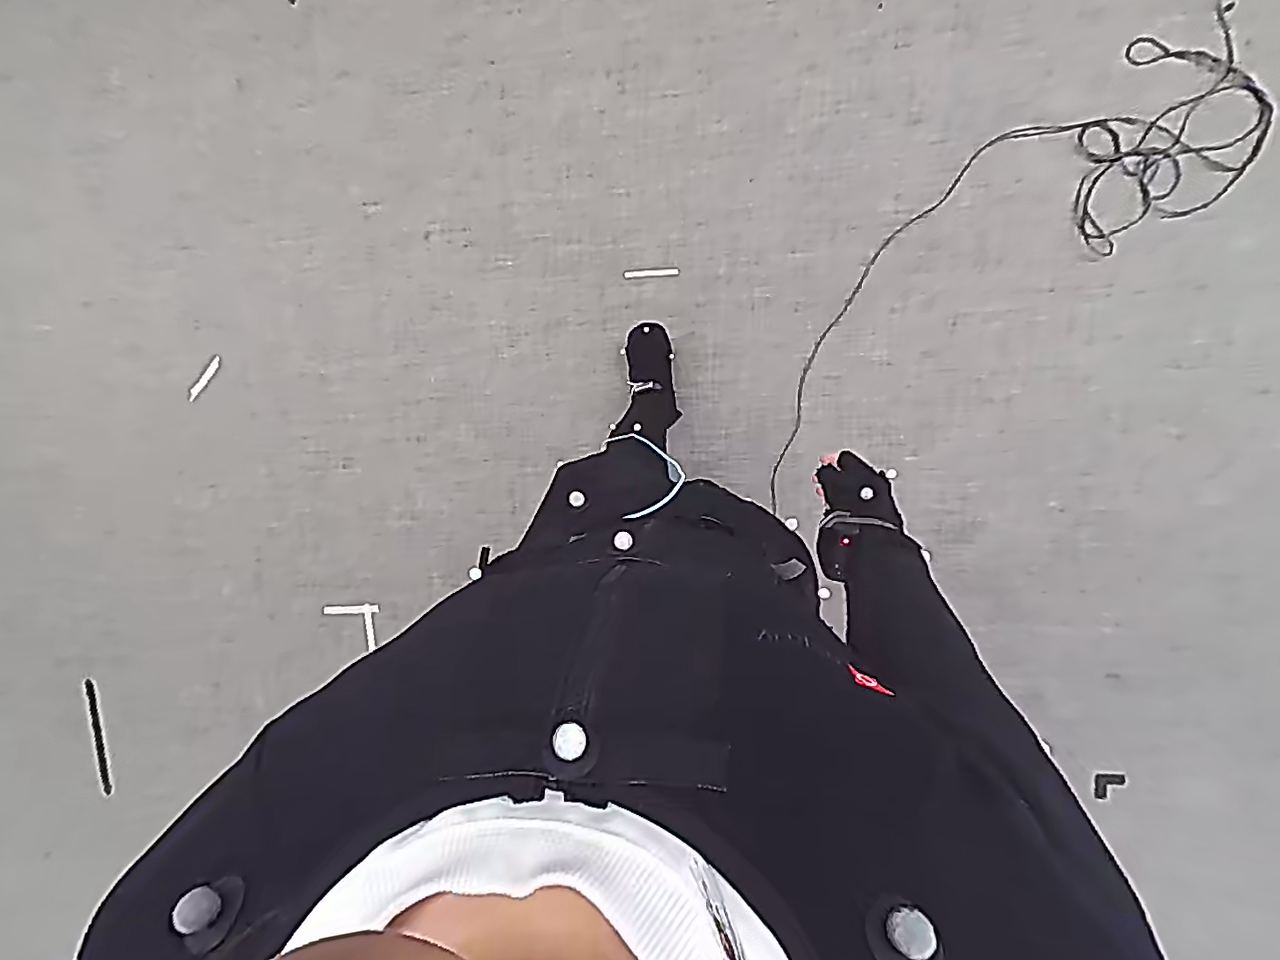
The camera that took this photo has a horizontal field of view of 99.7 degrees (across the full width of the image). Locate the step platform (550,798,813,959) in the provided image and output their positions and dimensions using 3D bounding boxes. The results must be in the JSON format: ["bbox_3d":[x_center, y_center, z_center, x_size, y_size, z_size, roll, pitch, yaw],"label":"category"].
[{"bbox_3d":[0.104,1.051,1.441,0.684,0.204,0.286,-3,95,9],"label":"step platform"}]
